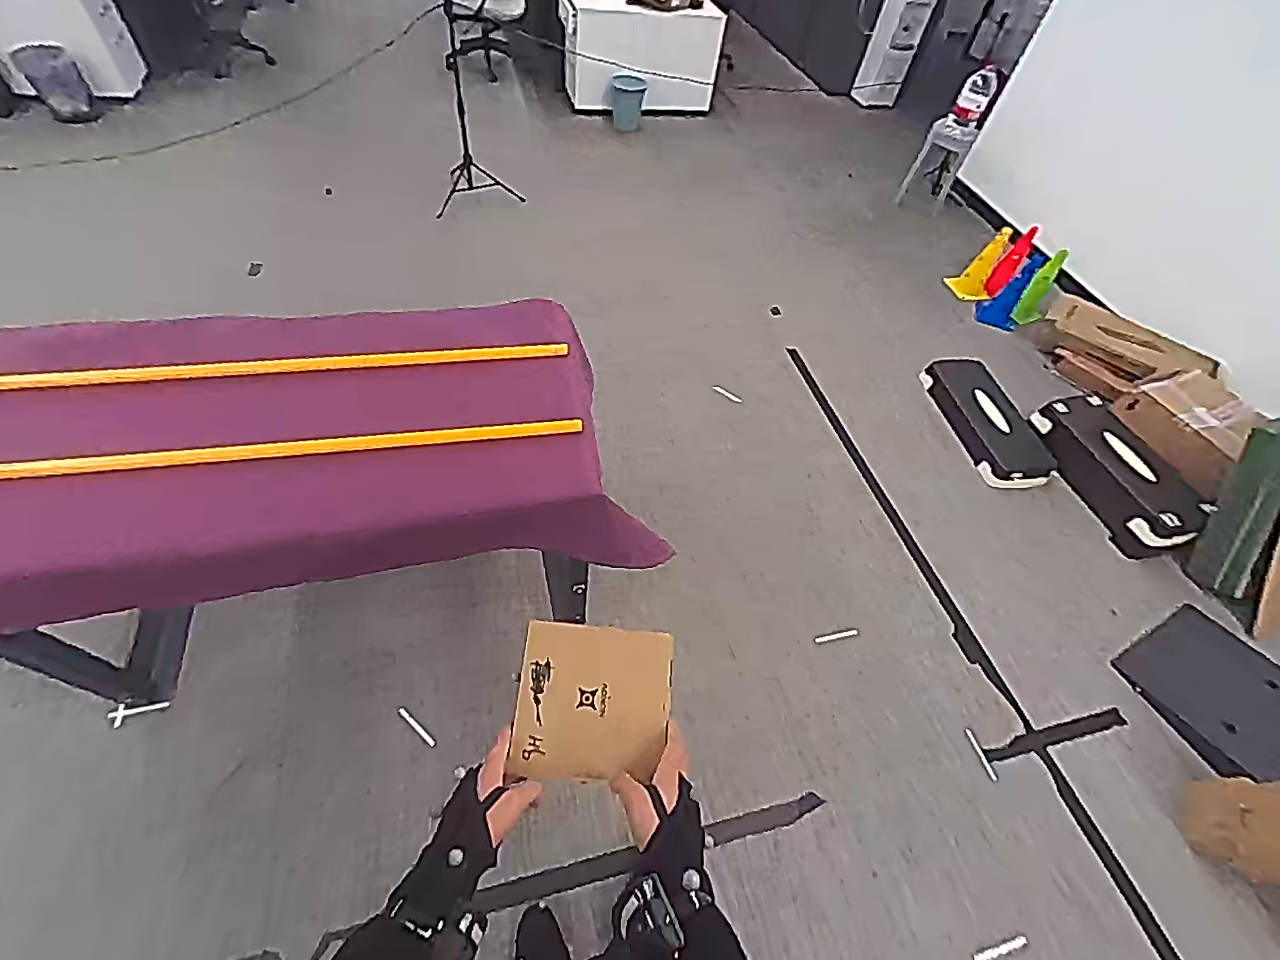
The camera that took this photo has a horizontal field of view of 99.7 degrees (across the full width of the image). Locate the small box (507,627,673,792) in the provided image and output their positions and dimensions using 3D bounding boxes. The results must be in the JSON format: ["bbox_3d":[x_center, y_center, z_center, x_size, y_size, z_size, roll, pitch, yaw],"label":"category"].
[{"bbox_3d":[-0.062,0.290,0.699,0.179,0.176,0.168,7,68,-4],"label":"small box"}]
